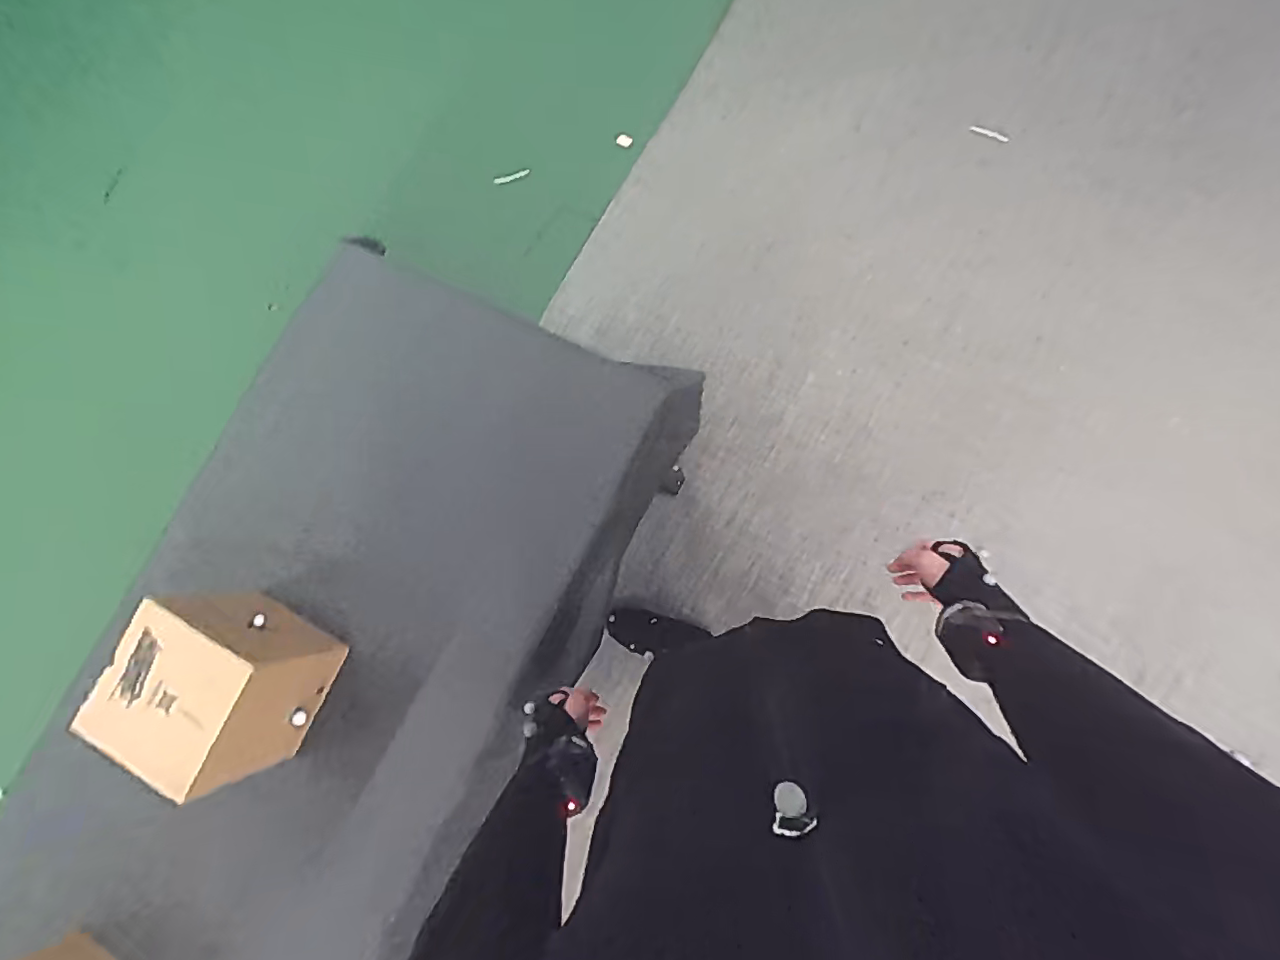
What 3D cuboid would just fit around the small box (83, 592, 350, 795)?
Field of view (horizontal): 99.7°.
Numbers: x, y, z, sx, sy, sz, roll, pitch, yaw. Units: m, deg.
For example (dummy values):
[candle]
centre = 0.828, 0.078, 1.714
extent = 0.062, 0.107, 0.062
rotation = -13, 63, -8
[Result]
[small box]
centre = -0.526, 0.255, 0.696
extent = 0.179, 0.176, 0.168
rotation = 25, 85, 11
